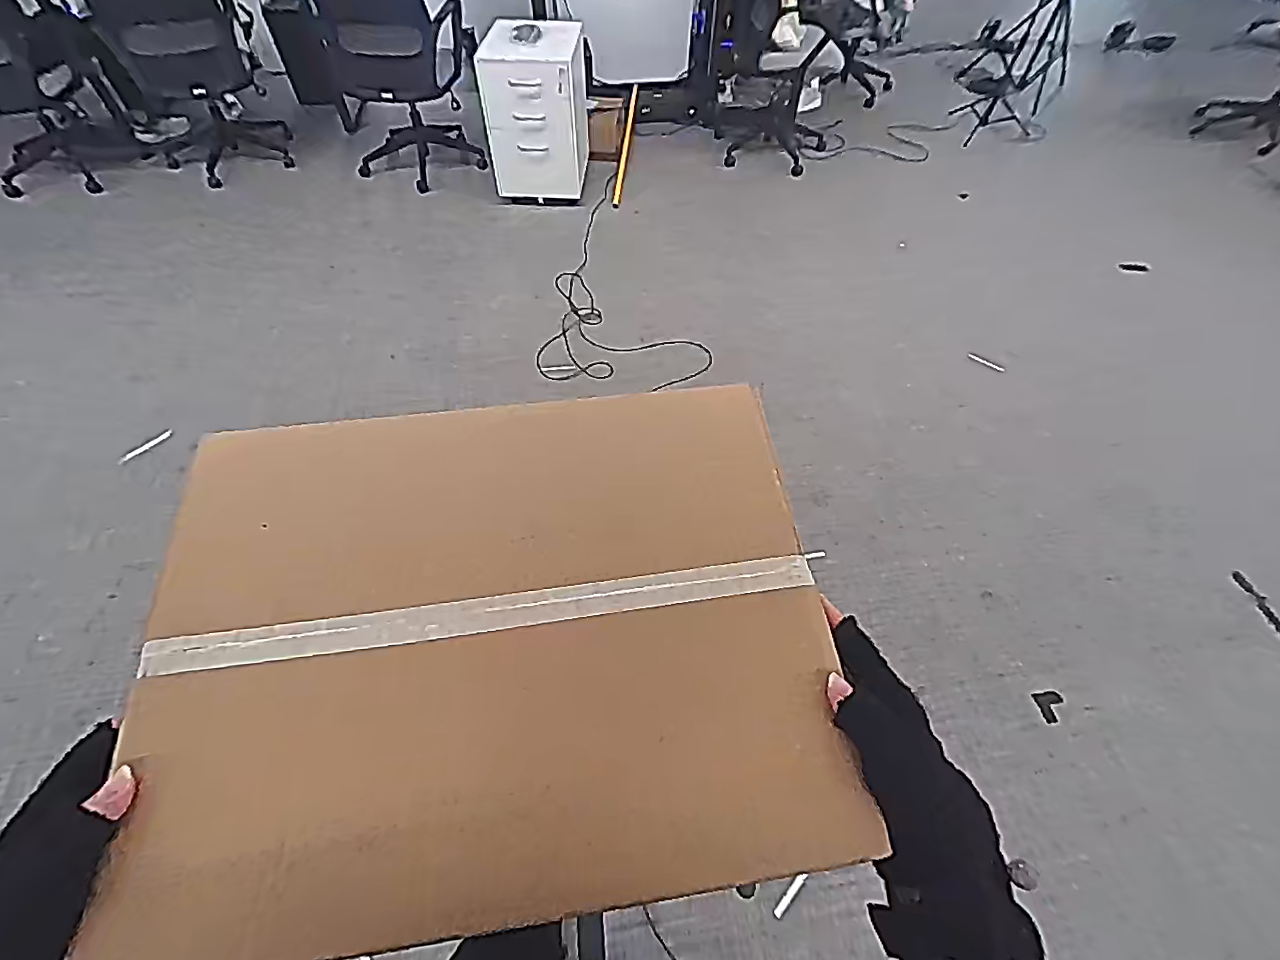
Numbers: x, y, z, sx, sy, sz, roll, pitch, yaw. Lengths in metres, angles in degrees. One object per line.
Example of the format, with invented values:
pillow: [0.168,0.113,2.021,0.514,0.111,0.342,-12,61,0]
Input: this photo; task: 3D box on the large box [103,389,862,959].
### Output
large box: [-0.094,0.152,0.480,0.408,0.320,0.320,-7,63,-5]
